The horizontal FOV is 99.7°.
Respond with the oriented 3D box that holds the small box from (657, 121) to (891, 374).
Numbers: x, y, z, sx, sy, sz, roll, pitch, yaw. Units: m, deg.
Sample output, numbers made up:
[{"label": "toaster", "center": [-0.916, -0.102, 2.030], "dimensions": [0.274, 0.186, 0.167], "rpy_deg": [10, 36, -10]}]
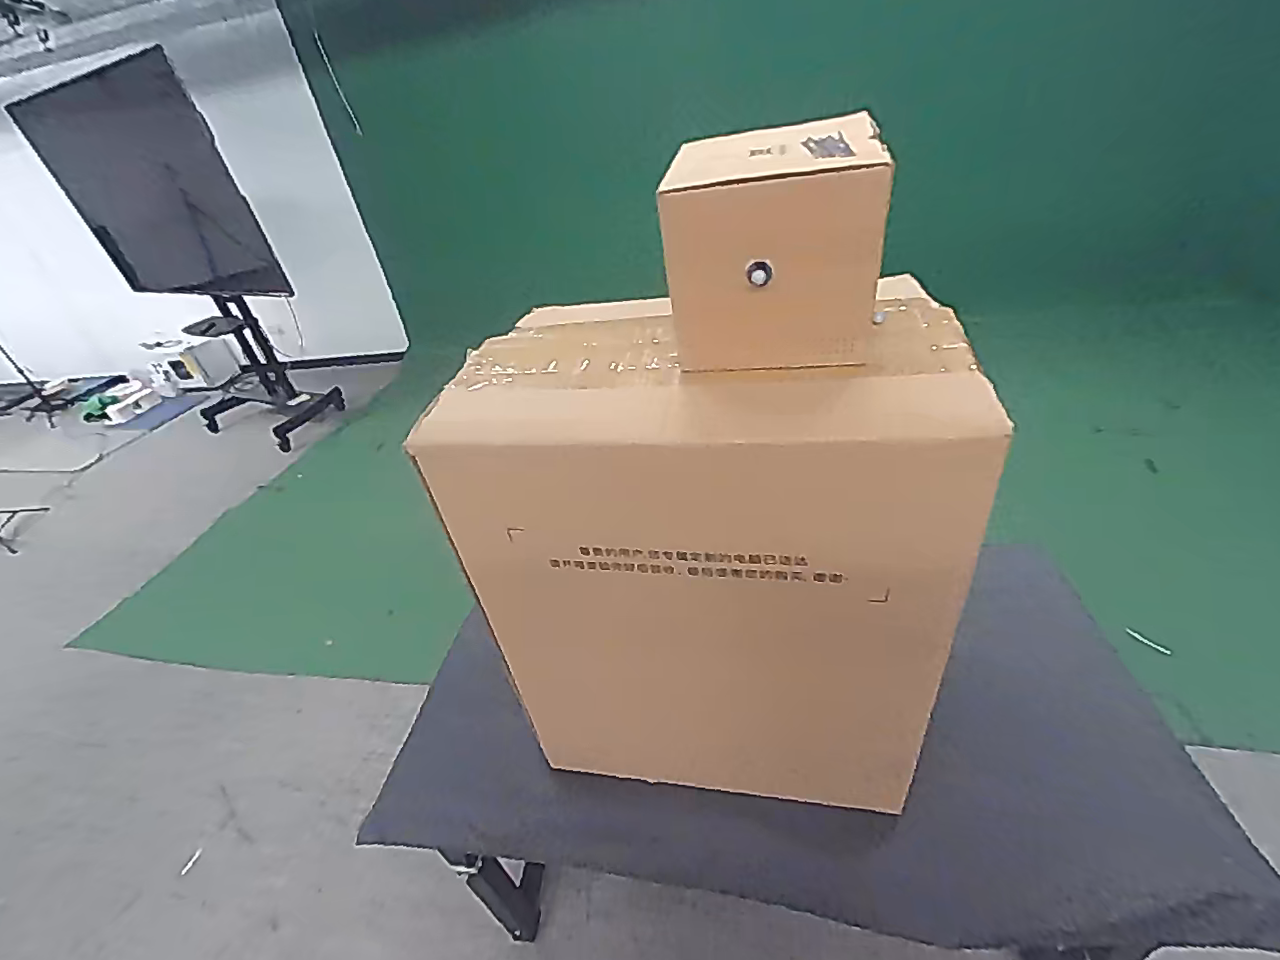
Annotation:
[{"label": "small box", "center": [0.127, -0.216, 0.517], "dimensions": [0.179, 0.176, 0.168], "rpy_deg": [1, 43, 16]}]
